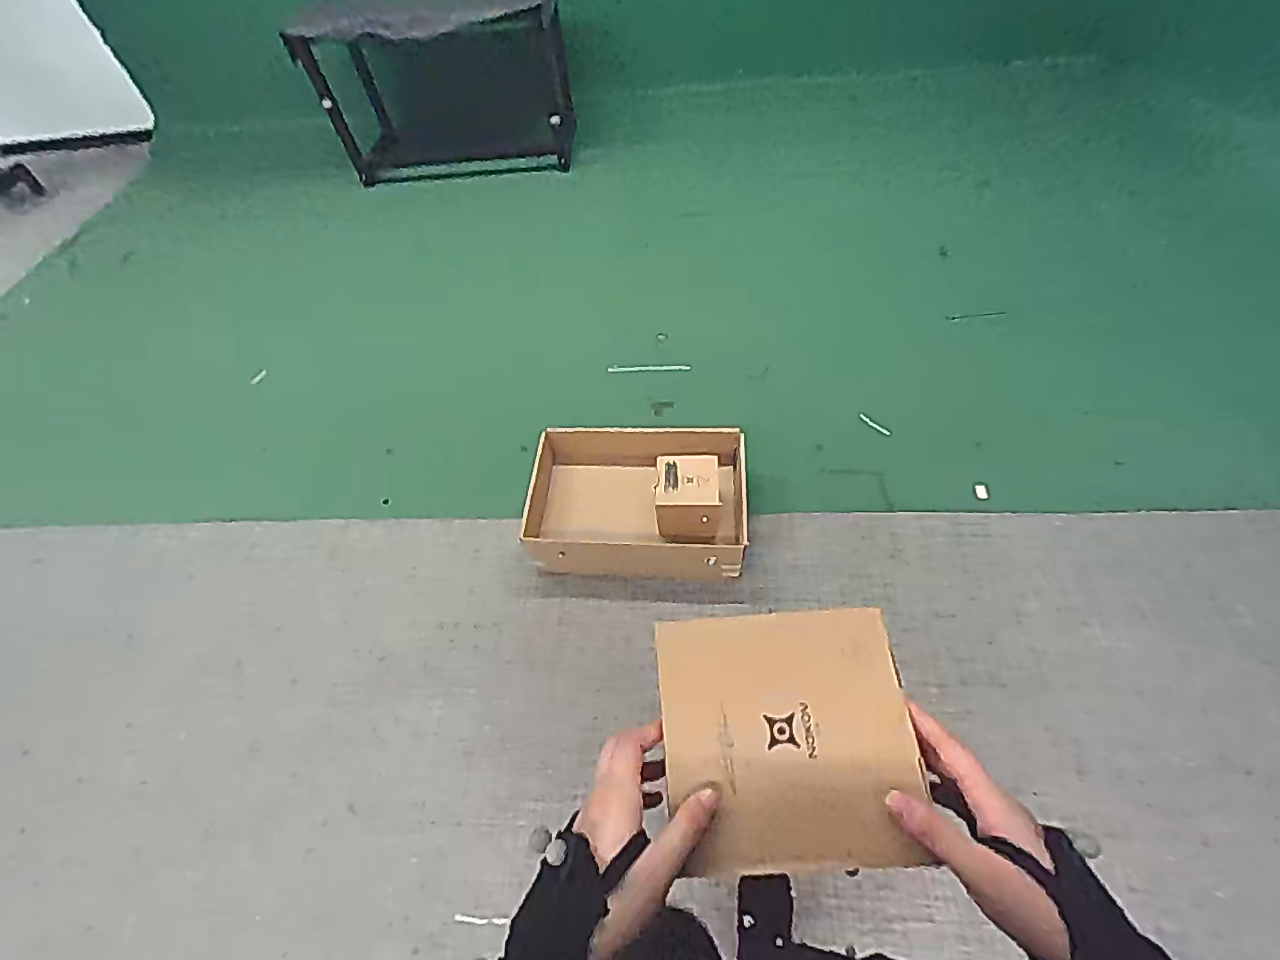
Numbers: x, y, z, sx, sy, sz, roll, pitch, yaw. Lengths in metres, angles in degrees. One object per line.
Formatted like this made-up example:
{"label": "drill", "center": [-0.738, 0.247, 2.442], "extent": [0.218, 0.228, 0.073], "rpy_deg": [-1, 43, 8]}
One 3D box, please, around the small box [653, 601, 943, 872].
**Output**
{"label": "small box", "center": [0.106, 0.206, 0.446], "extent": [0.179, 0.176, 0.168], "rpy_deg": [-6, 62, 3]}
